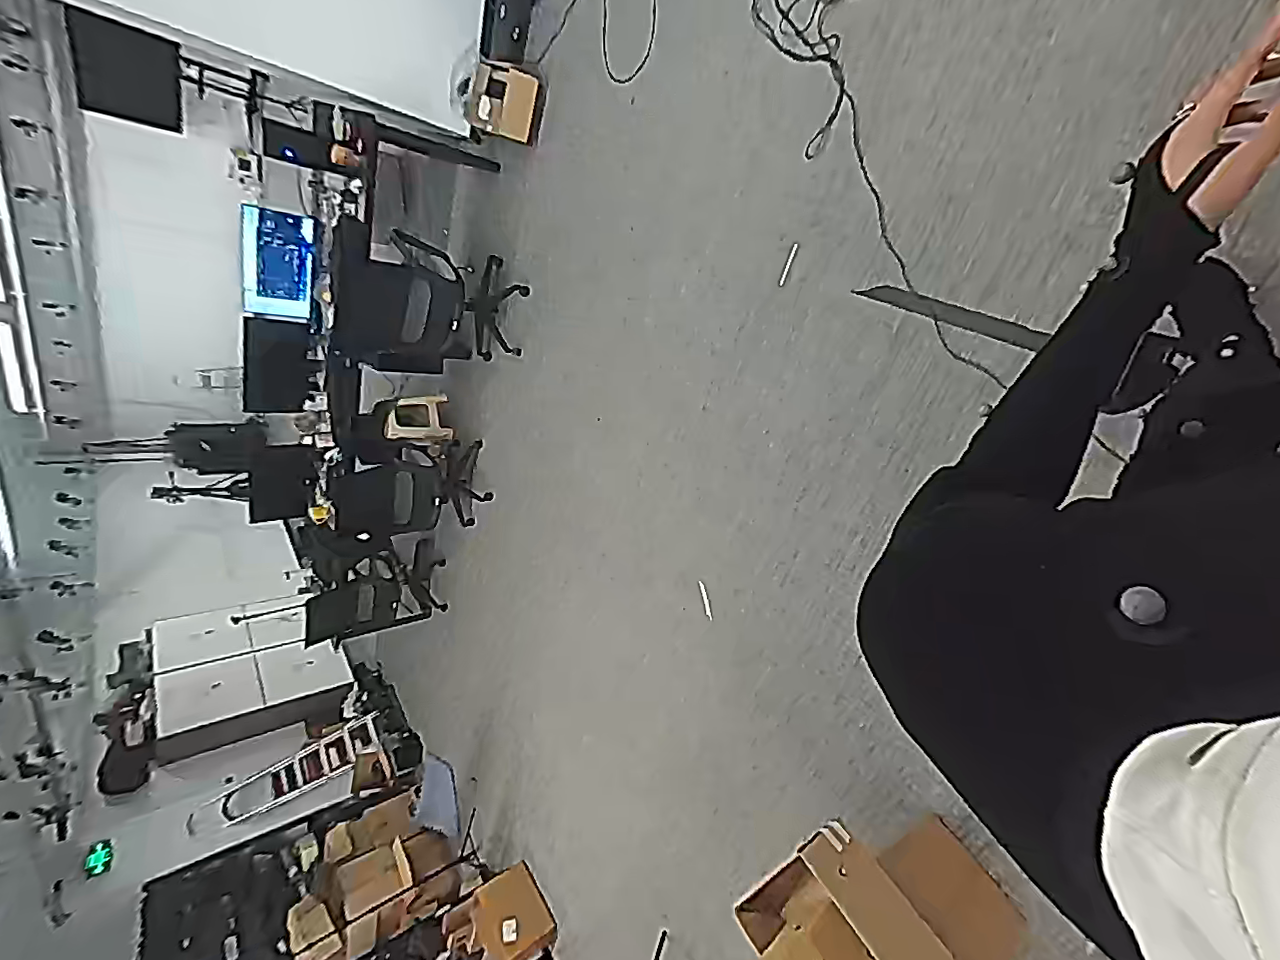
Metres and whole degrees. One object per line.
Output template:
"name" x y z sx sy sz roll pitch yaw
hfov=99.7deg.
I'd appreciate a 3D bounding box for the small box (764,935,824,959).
"small box" 0.358 1.219 1.261 0.168 0.176 0.179 50 130 30
